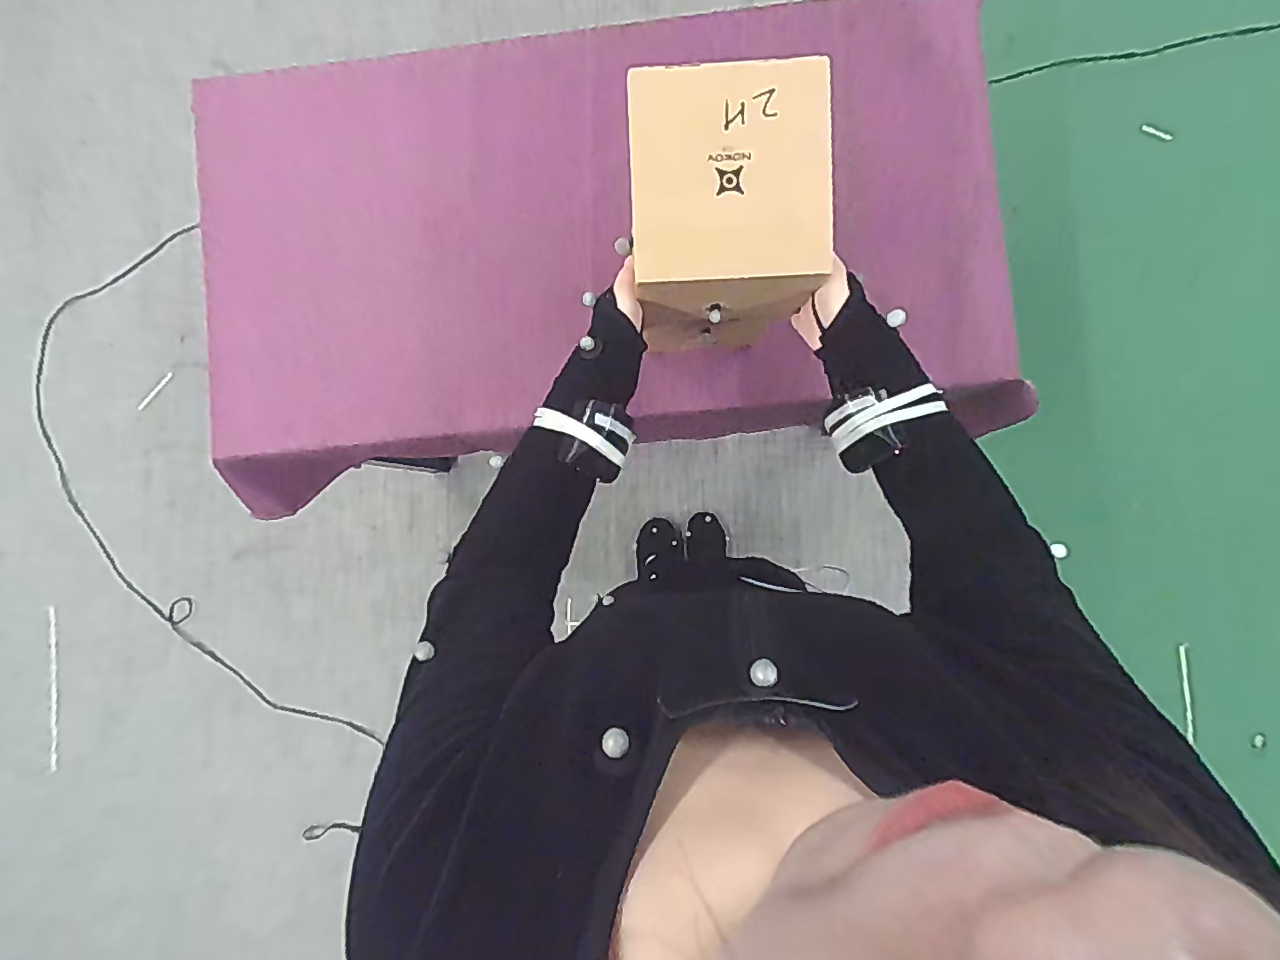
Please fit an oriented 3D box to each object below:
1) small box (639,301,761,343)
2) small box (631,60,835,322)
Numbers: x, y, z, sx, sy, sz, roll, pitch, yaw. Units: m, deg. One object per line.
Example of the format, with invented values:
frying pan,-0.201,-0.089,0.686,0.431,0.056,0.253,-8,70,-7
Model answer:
small box,0.081,-0.288,0.720,0.168,0.176,0.179,-4,88,2
small box,0.079,-0.255,0.522,0.168,0.176,0.179,-2,94,1
